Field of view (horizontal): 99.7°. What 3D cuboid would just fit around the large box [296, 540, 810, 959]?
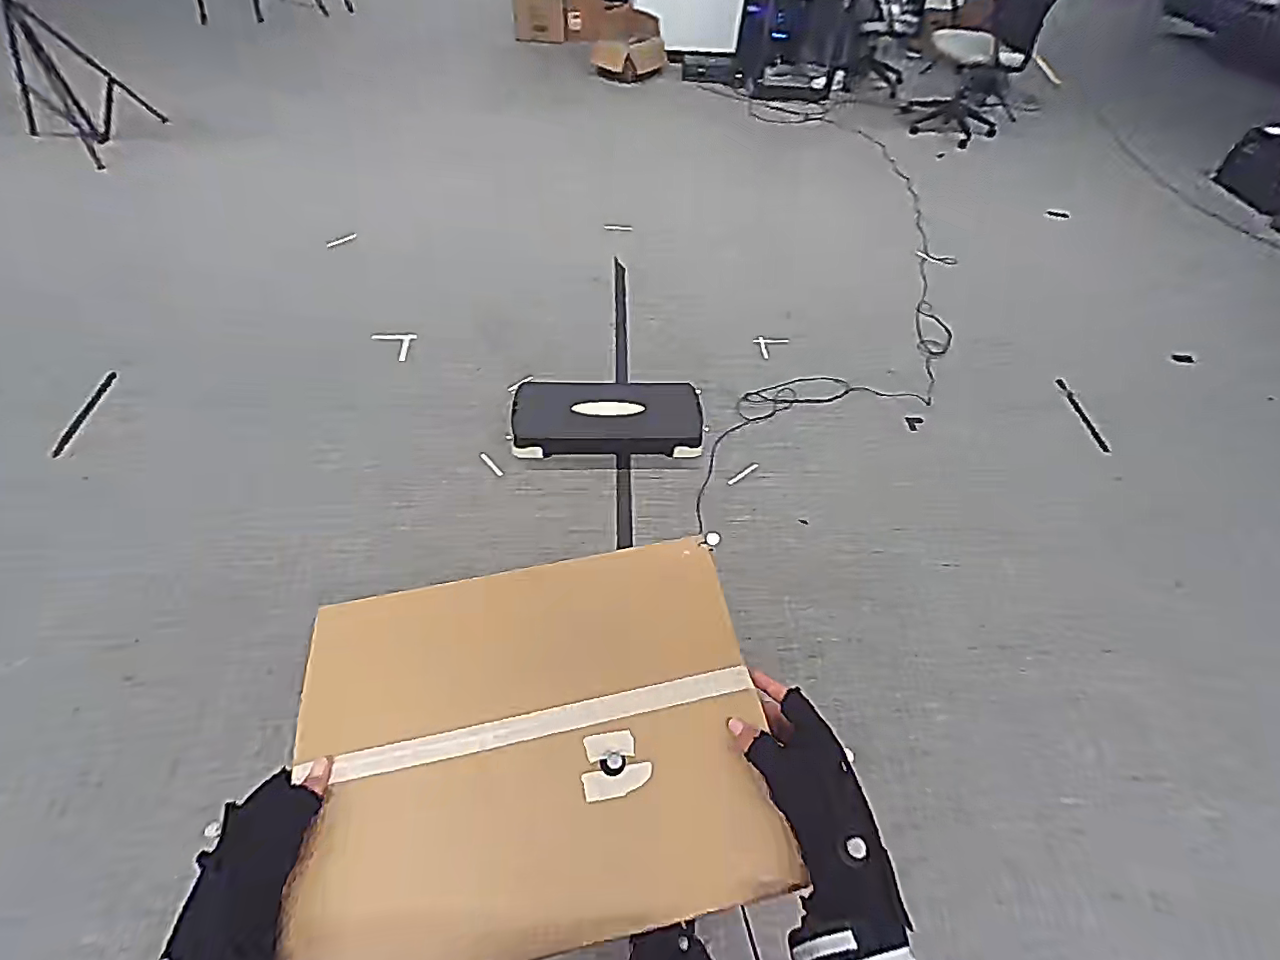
[{"bbox_3d":[-0.086,0.308,0.613,0.408,0.320,0.320,-9,55,-6],"label":"large box"}]
